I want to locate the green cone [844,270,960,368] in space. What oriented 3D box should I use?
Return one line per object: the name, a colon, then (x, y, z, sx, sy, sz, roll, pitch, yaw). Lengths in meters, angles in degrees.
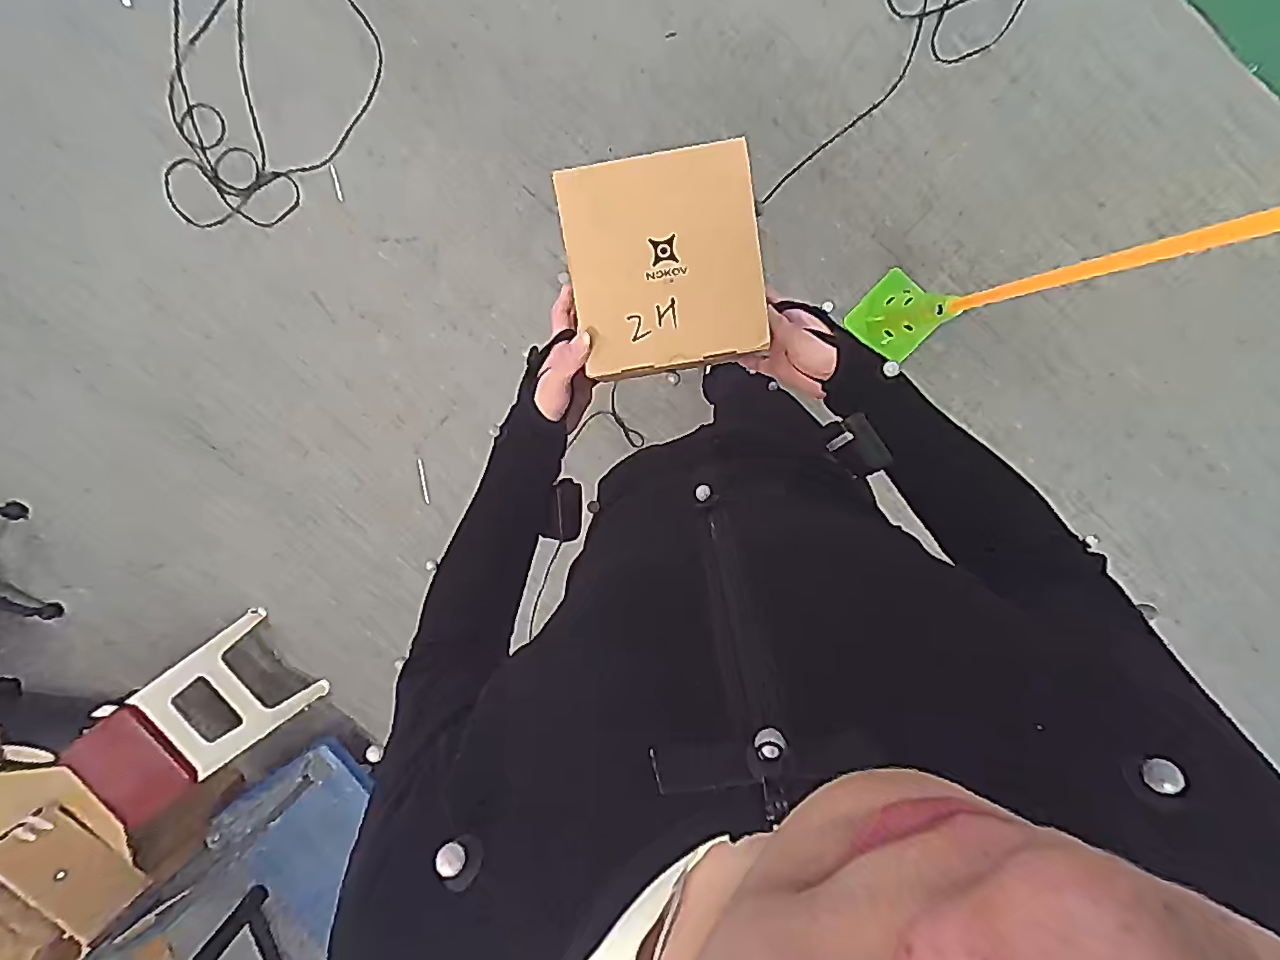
green cone: (0.678, -0.406, 1.312, 0.202, 0.368, 0.200, 42, 102, -3)
